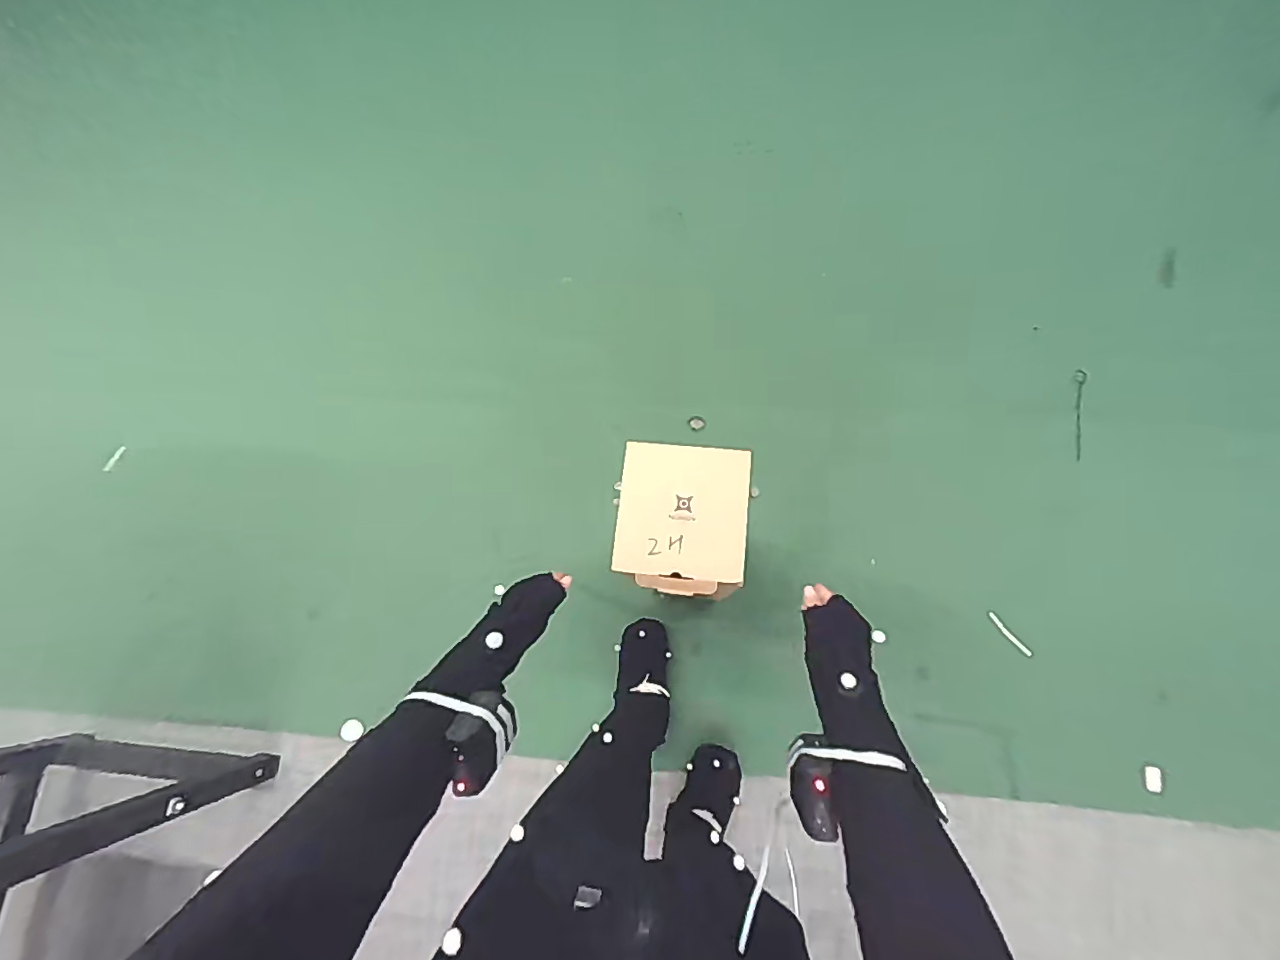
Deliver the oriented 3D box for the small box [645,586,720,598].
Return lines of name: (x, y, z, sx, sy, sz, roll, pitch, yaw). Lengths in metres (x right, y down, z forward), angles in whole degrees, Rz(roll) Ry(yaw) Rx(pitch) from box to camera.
small box: (0.107, 0.174, 1.242, 0.168, 0.176, 0.179, 3, 79, 6)

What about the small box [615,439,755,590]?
small box: (0.064, 0.056, 0.766, 0.168, 0.176, 0.179, 5, 77, 6)
